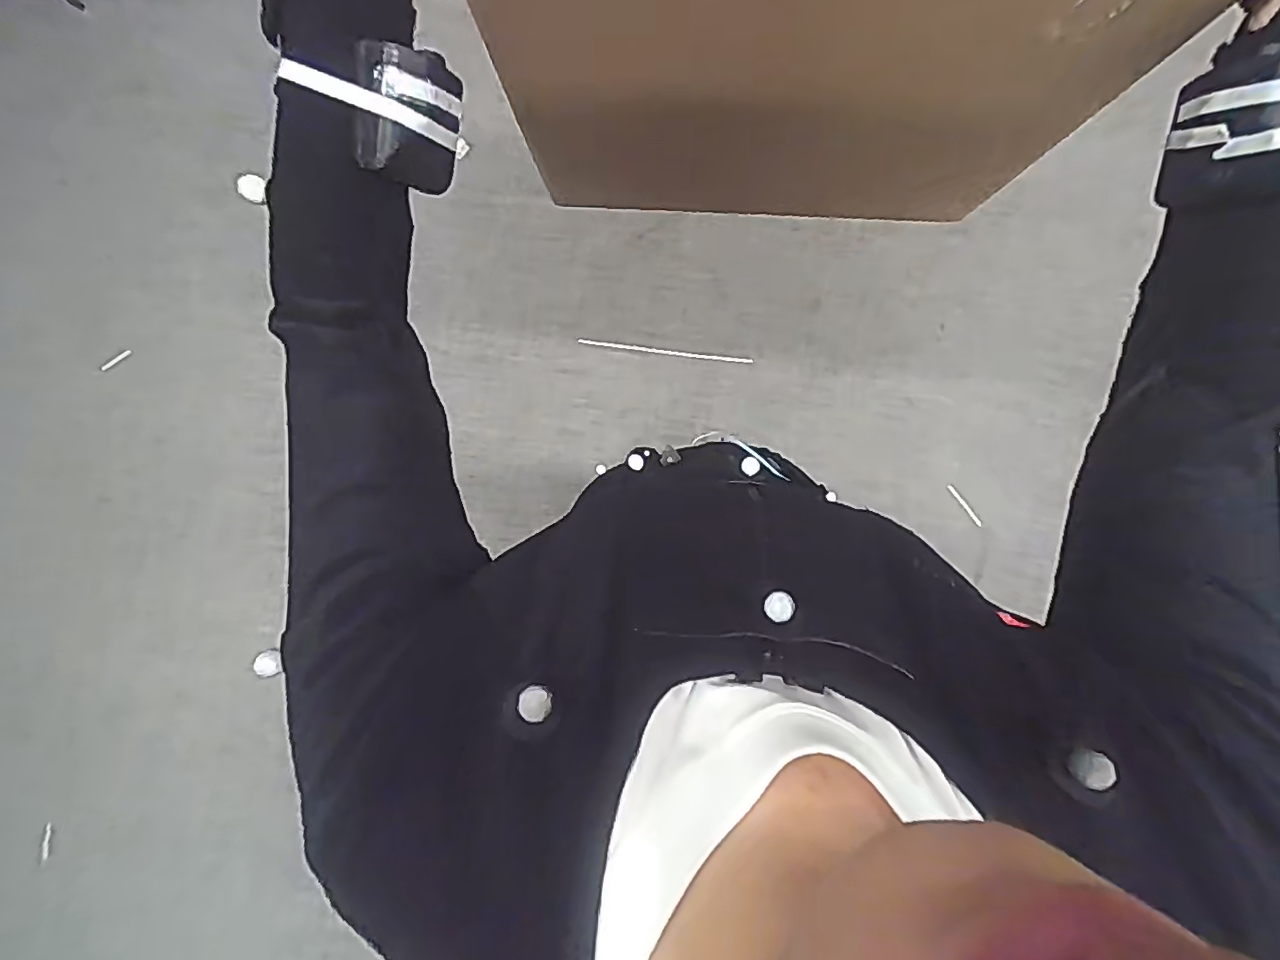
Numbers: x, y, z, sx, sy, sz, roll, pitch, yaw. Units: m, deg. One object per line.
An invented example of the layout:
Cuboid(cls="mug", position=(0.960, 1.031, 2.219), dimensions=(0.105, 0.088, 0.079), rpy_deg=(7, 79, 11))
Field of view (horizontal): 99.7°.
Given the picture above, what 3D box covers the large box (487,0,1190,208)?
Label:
Cuboid(cls="large box", position=(0.113, -0.419, 0.382), dimensions=(0.408, 0.320, 0.320), rpy_deg=(3, 93, 1))
